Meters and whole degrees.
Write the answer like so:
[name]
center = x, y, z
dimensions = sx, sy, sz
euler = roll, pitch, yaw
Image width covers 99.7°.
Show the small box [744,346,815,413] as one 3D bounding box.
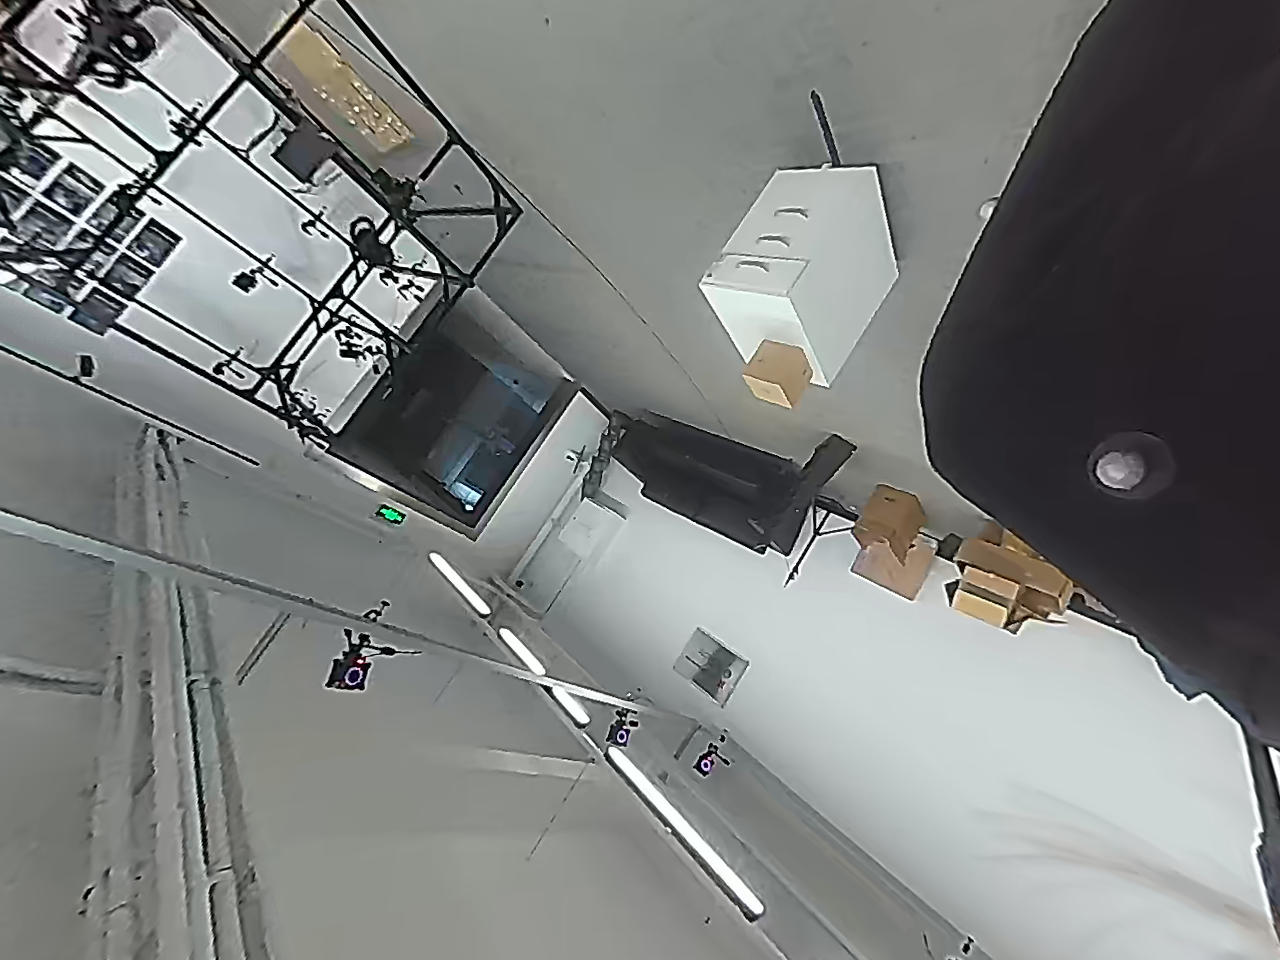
[small box]
center = 0.529, -0.384, 2.046
dimensions = 0.179, 0.176, 0.168
euler = 29, 172, 41
